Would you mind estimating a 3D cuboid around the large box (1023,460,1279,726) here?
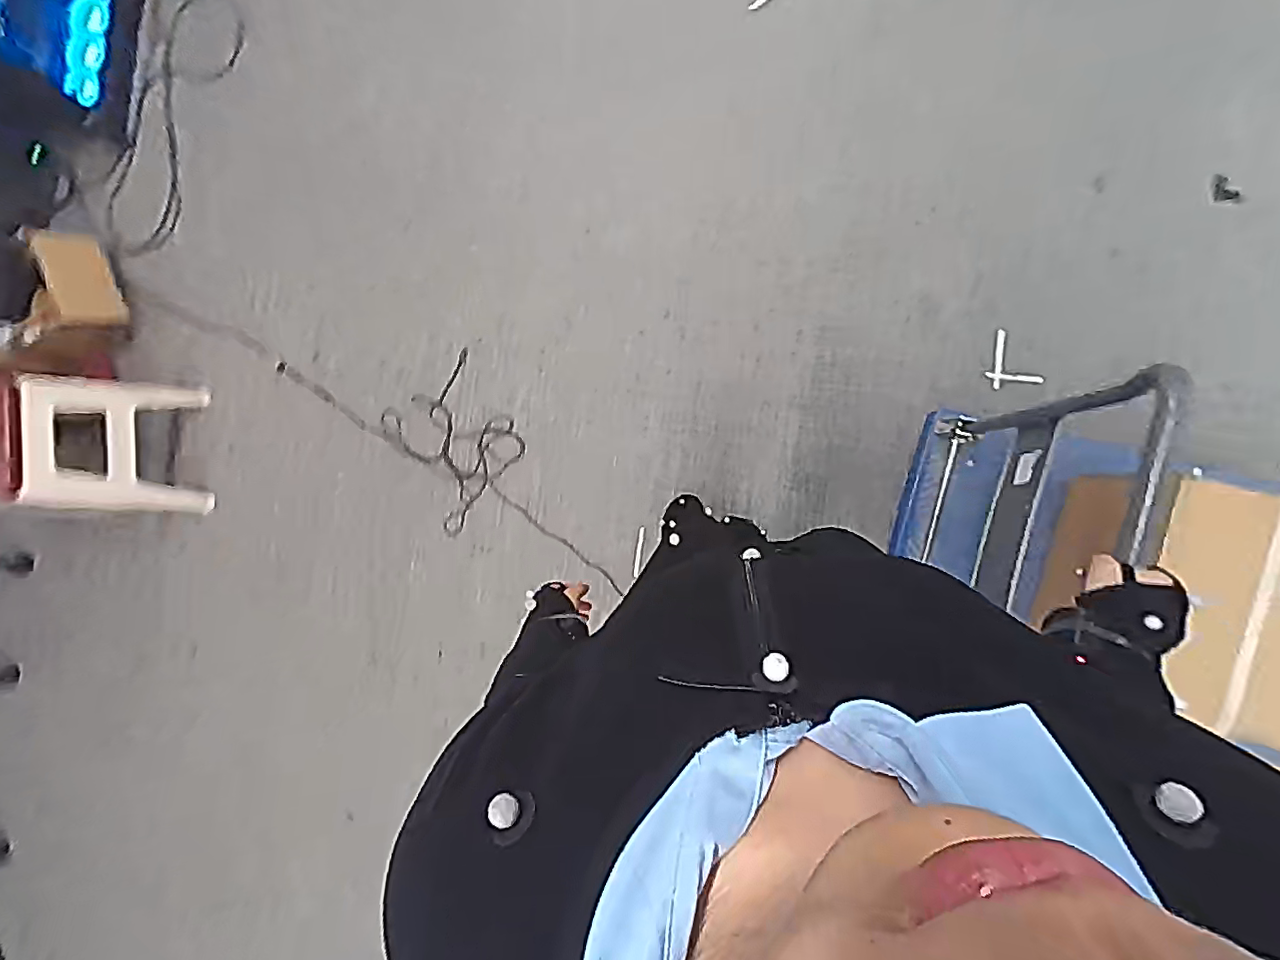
[{"bbox_3d":[1.035,0.201,1.064,0.320,0.320,0.408,15,89,8],"label":"large box"}]
